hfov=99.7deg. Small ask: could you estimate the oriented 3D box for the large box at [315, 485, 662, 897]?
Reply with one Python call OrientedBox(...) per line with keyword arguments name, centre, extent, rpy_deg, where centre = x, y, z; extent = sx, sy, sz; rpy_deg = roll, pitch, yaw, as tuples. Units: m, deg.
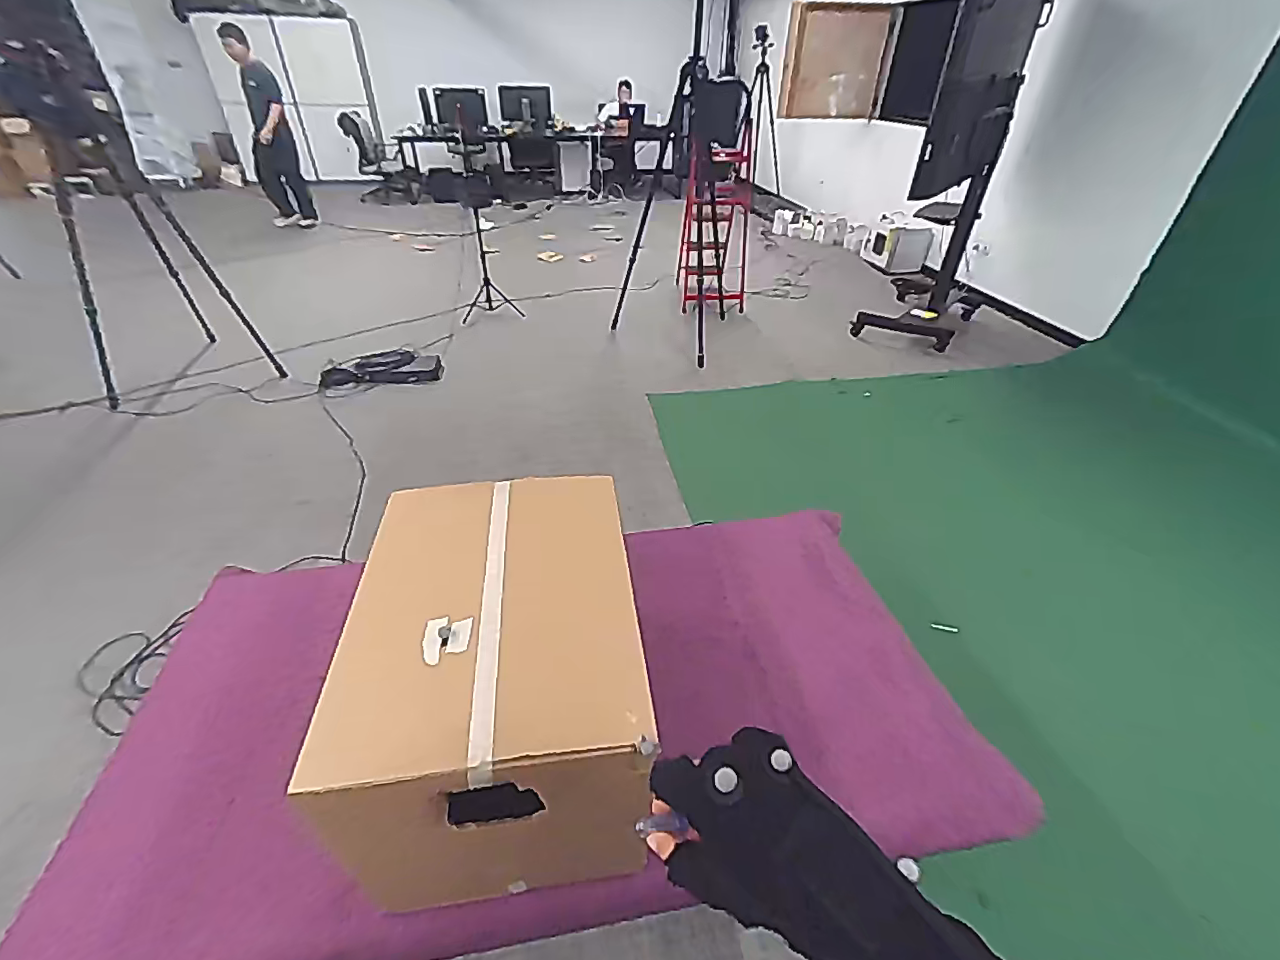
OrientedBox(name="large box", centre=(-0.167, 0.252, 0.725), extent=(0.320, 0.320, 0.408), rpy_deg=(-4, 38, -7))
